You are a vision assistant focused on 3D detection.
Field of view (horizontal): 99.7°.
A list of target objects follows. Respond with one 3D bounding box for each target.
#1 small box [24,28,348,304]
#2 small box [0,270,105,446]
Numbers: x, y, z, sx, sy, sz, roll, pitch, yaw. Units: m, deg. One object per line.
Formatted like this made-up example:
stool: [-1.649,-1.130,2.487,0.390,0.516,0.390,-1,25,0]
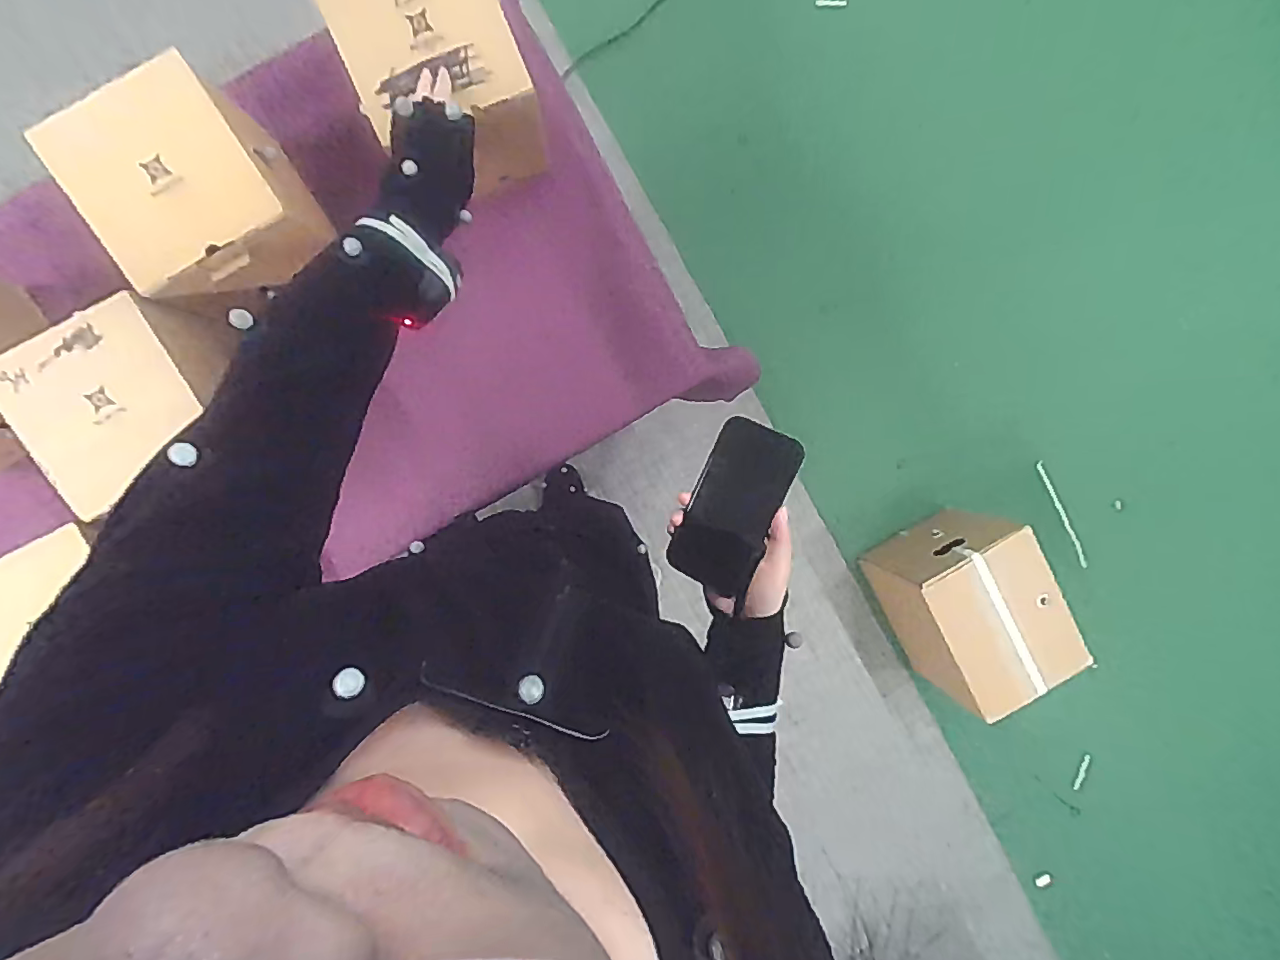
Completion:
small box: [-0.469,-0.321,0.596,0.168,0.176,0.179,-32,100,-1]
small box: [-0.765,-0.135,0.588,0.168,0.176,0.179,-30,99,-3]
